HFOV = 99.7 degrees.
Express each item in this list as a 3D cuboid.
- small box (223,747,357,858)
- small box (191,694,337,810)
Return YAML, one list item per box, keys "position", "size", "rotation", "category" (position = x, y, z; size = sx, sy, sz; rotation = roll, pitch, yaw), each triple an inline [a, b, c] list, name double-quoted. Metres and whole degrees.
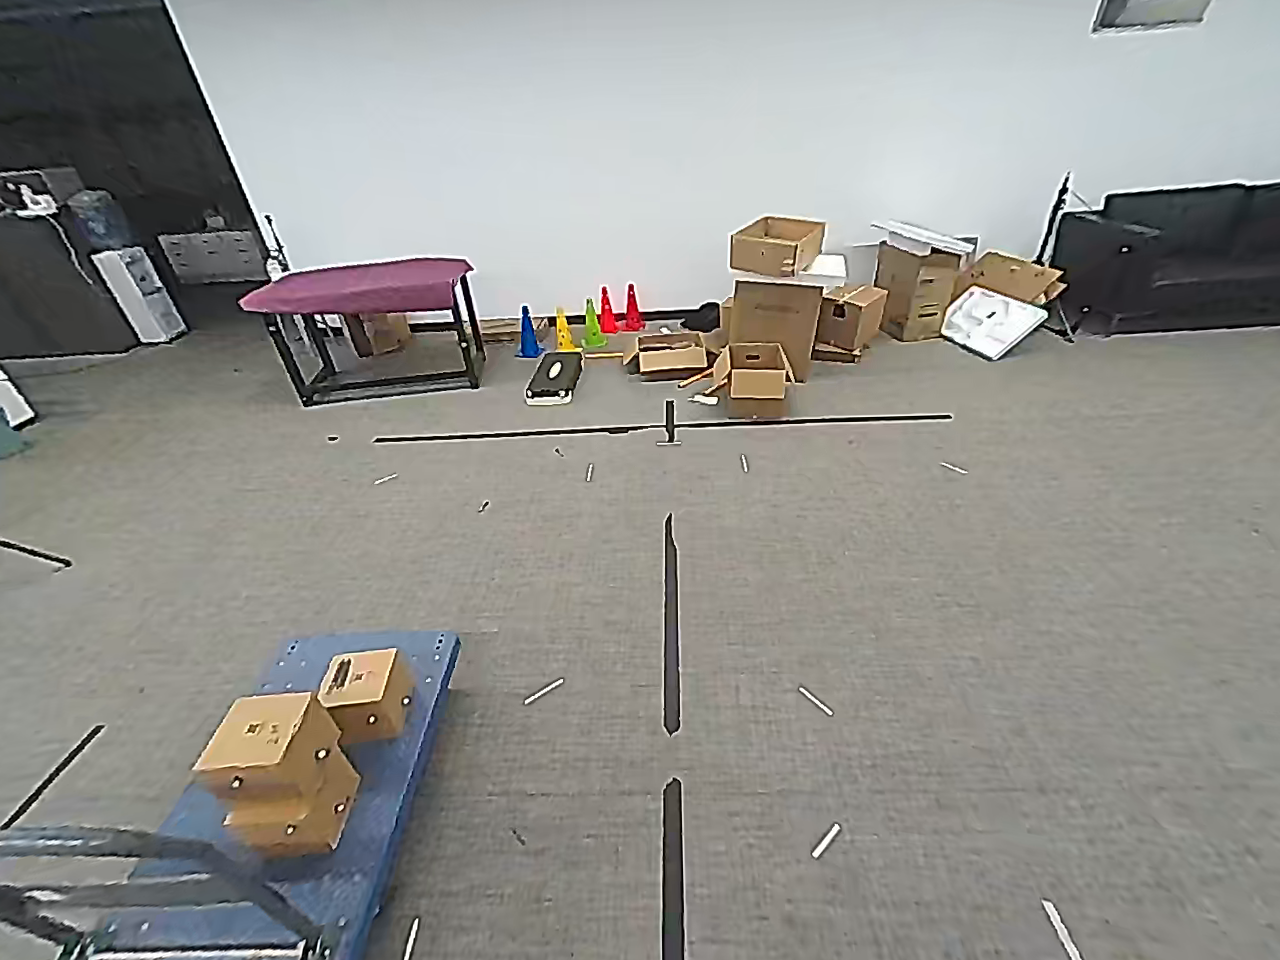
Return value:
- position: [-0.794, 0.745, 1.248]
  size: [0.179, 0.176, 0.168]
  rotation: [-4, 34, -2]
  category: "small box"
- position: [-0.803, 0.594, 1.177]
  size: [0.179, 0.176, 0.168]
  rotation: [-4, 34, -1]
  category: "small box"
